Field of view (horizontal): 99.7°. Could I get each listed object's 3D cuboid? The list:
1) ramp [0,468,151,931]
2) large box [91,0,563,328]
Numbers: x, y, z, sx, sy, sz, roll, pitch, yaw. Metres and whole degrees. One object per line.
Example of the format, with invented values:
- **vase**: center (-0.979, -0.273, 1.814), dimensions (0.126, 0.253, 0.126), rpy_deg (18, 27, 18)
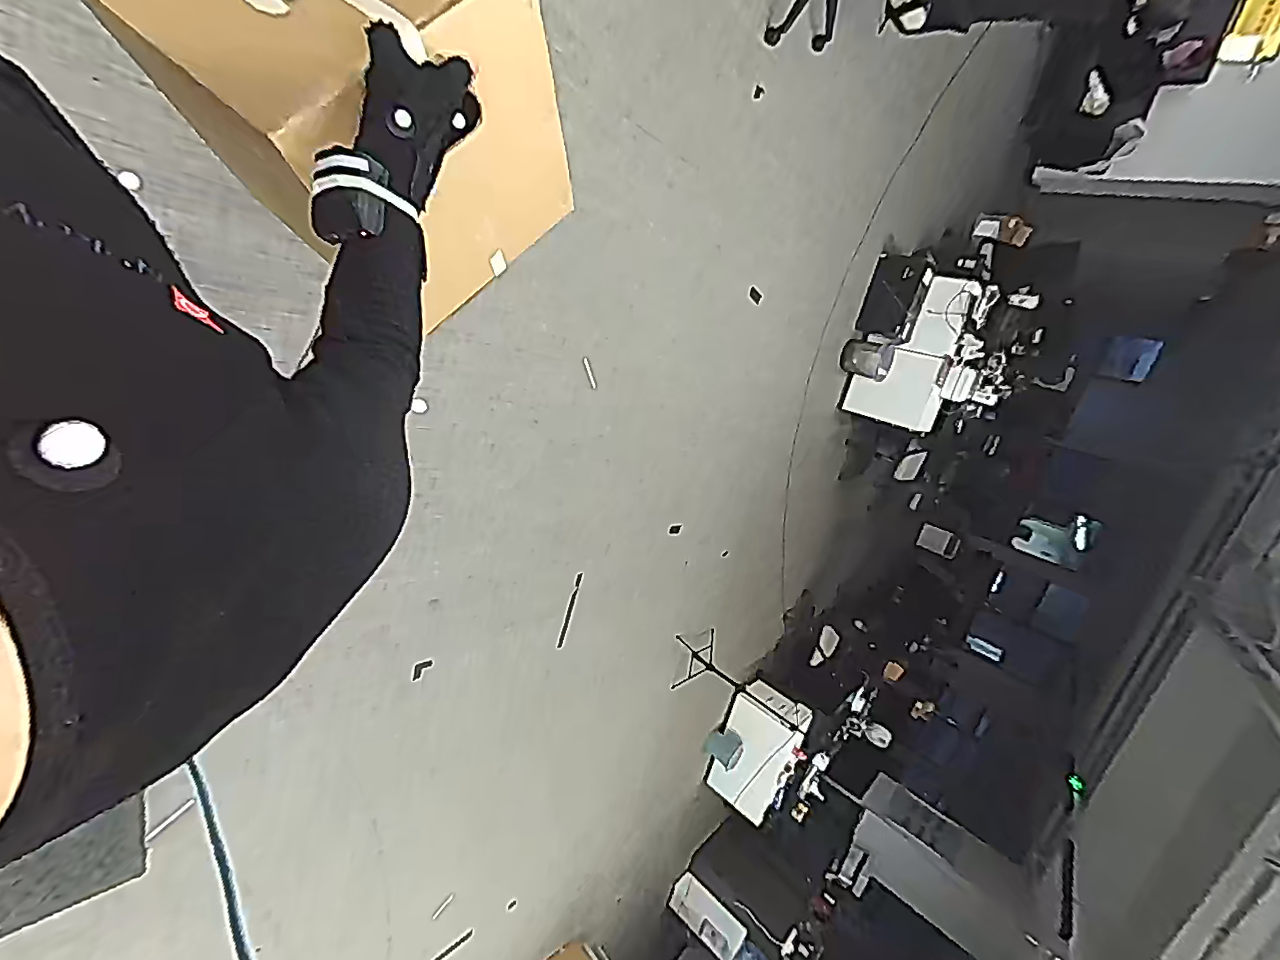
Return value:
- **ramp**: center (-1.314, 0.473, 1.075), dimensions (0.509, 0.206, 0.991), rpy_deg (-6, 115, -49)
- **large box**: center (-0.358, -0.481, 0.685), dimensions (0.320, 0.408, 0.320), rpy_deg (-46, 169, -13)
